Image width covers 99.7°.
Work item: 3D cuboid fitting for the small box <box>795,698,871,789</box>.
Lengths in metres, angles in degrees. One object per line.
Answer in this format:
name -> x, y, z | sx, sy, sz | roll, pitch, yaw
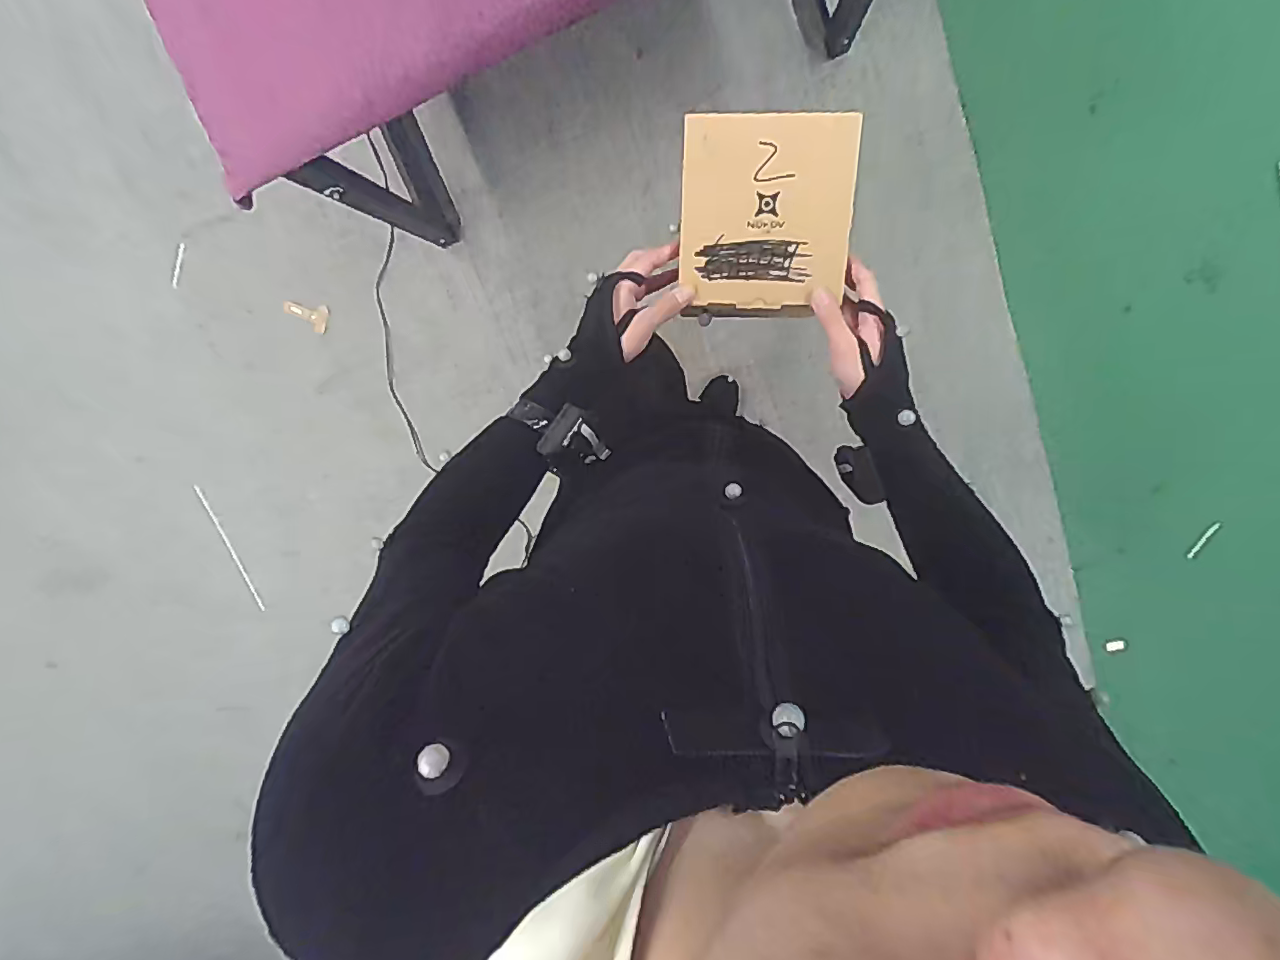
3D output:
small box -> 0.590, 0.808, 1.666 | 0.168, 0.176, 0.179 | -17, 100, 10
